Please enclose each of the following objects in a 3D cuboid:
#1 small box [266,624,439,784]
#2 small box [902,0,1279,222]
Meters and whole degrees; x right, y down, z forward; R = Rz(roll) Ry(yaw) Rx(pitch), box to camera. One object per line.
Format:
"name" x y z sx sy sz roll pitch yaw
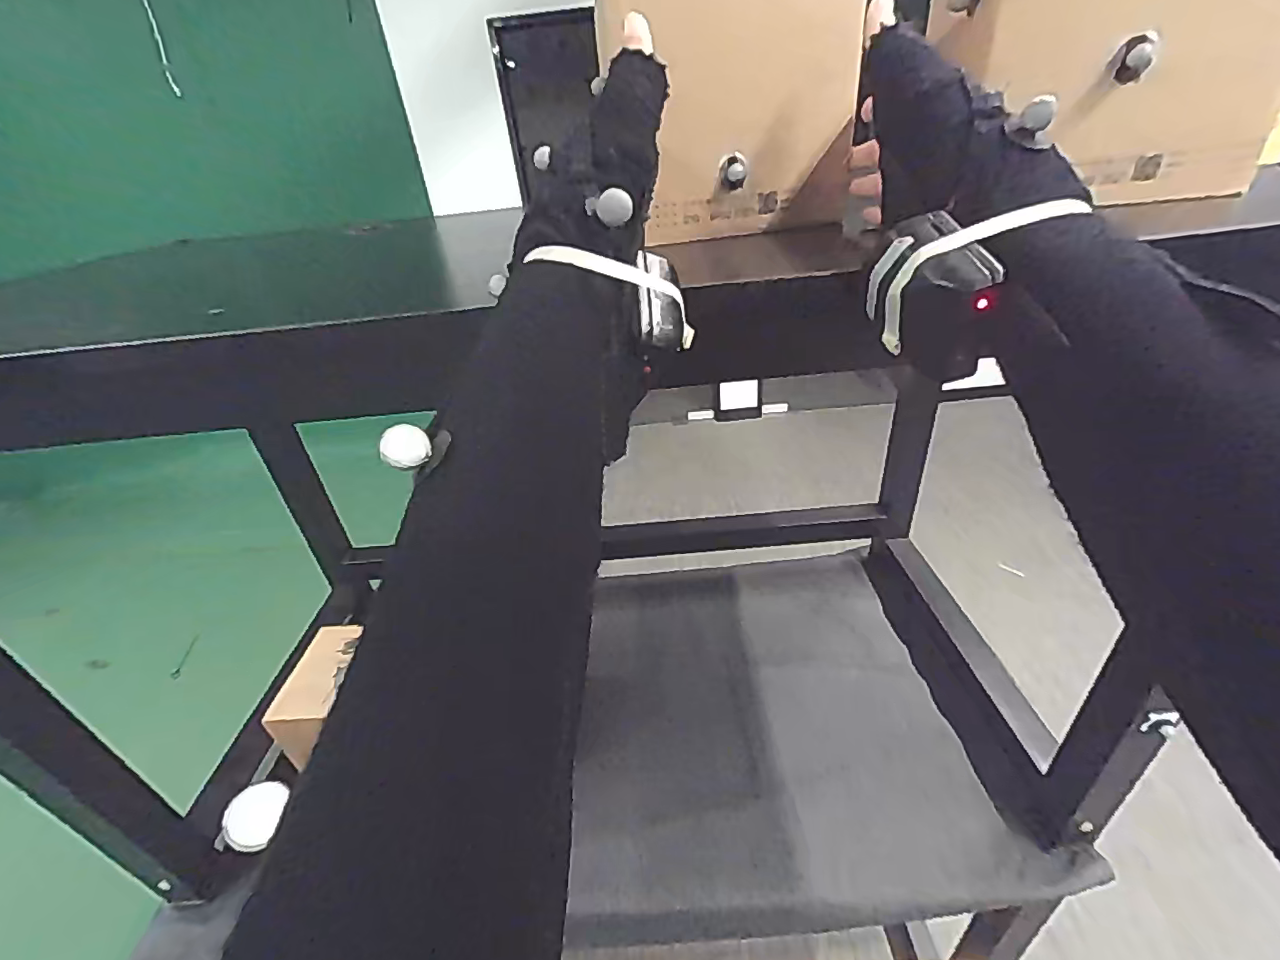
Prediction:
"small box" -0.444 0.358 0.872 0.168 0.176 0.179 -4 32 3
"small box" 0.303 -0.288 0.388 0.168 0.176 0.179 1 32 12
